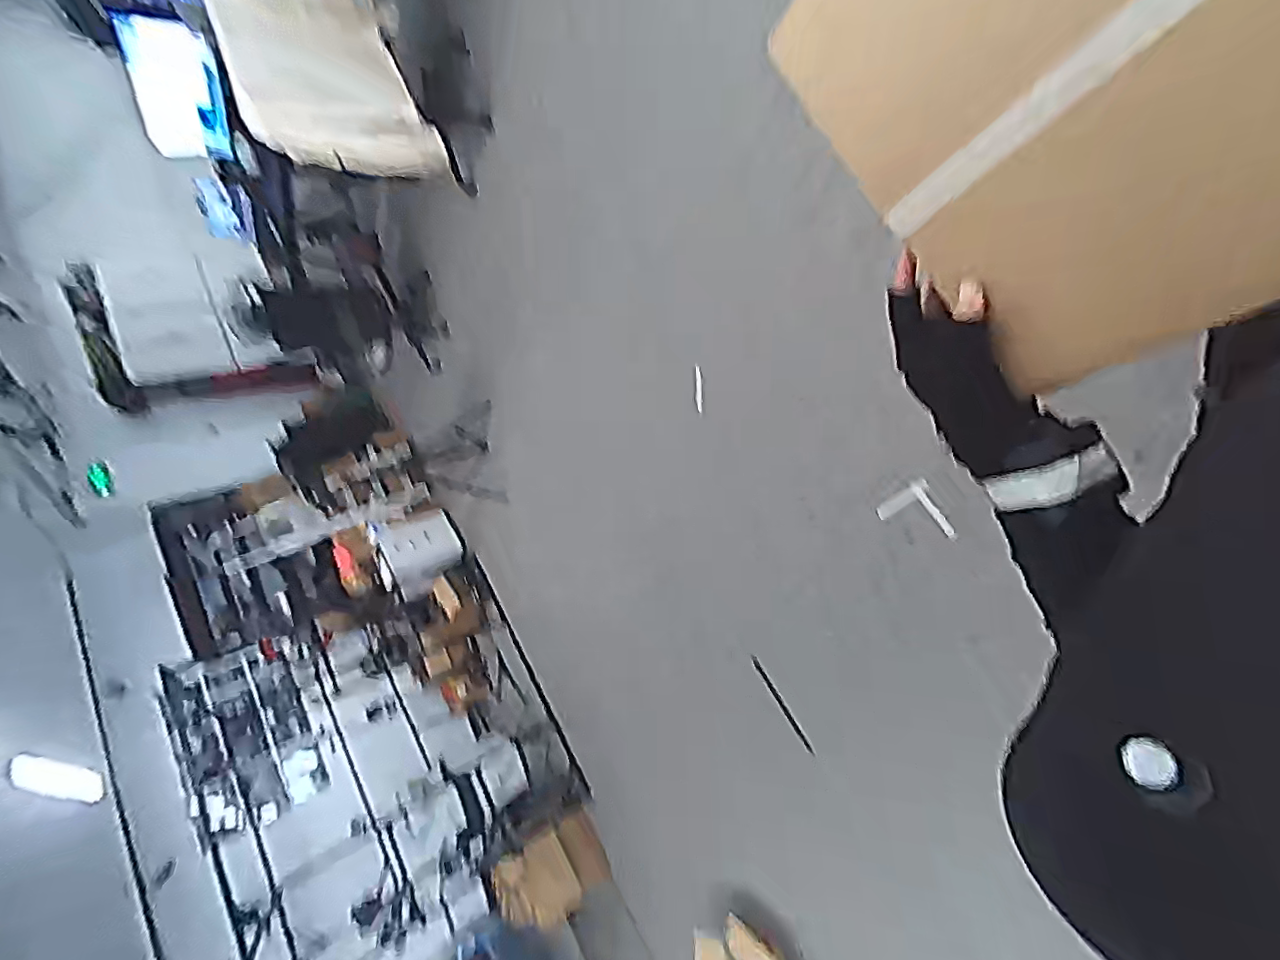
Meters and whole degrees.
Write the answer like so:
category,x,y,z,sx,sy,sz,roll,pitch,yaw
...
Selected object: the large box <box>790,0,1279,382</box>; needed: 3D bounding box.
category,x,y,z,sx,sy,sz,roll,pitch,yaw
large box,0.377,-0.323,0.300,0.320,0.320,0.408,53,149,-2
